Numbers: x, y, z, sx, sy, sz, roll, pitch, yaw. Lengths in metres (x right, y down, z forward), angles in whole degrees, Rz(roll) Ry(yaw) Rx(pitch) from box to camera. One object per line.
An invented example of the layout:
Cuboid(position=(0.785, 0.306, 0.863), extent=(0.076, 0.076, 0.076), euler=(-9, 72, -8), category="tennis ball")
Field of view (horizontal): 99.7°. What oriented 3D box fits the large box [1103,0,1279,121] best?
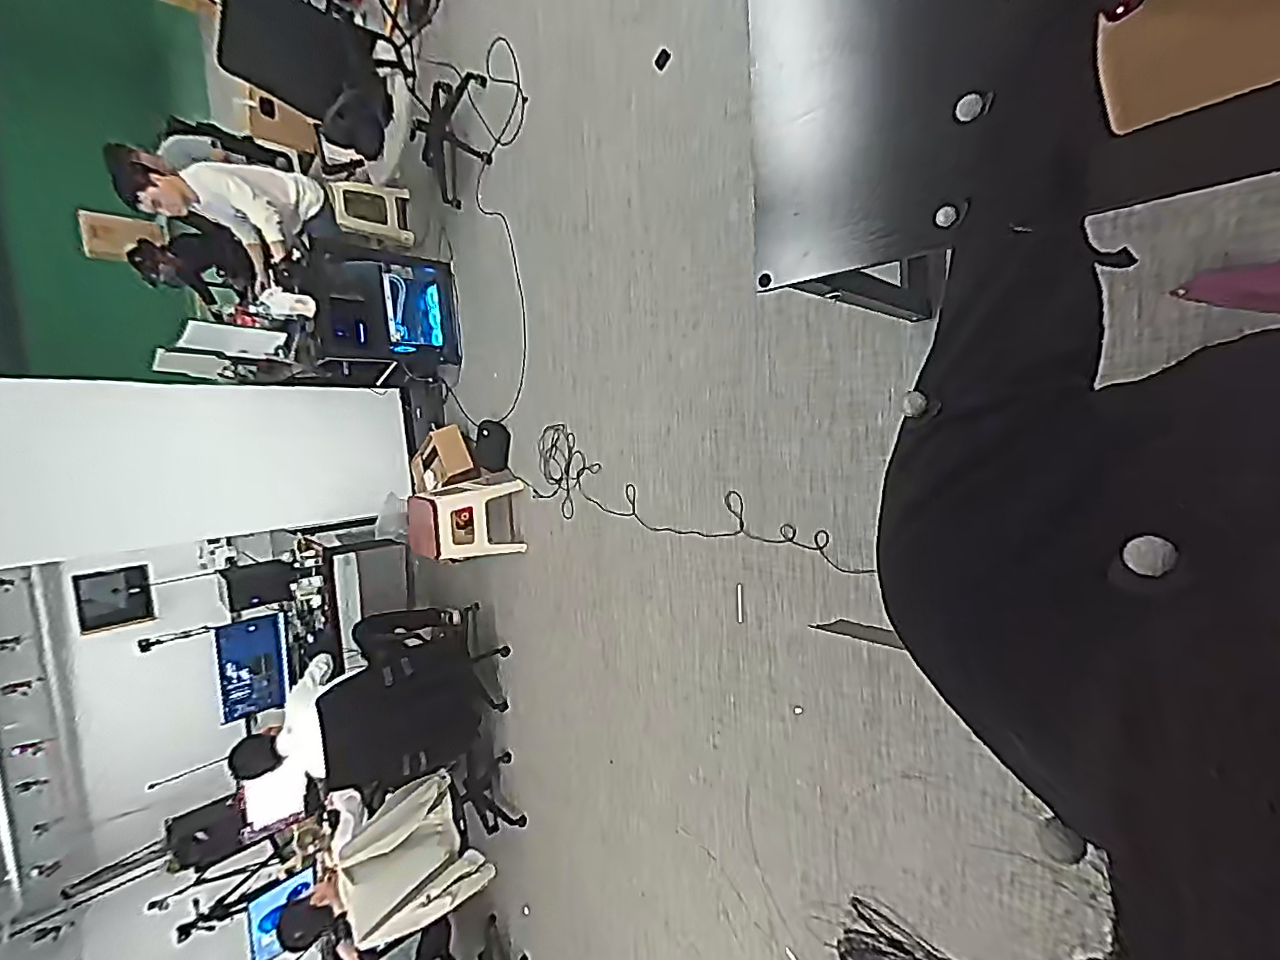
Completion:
Cuboid(position=(0.546, -0.524, 0.336), extent=(0.408, 0.320, 0.320), euler=(-2, 96, 45), category="large box")
